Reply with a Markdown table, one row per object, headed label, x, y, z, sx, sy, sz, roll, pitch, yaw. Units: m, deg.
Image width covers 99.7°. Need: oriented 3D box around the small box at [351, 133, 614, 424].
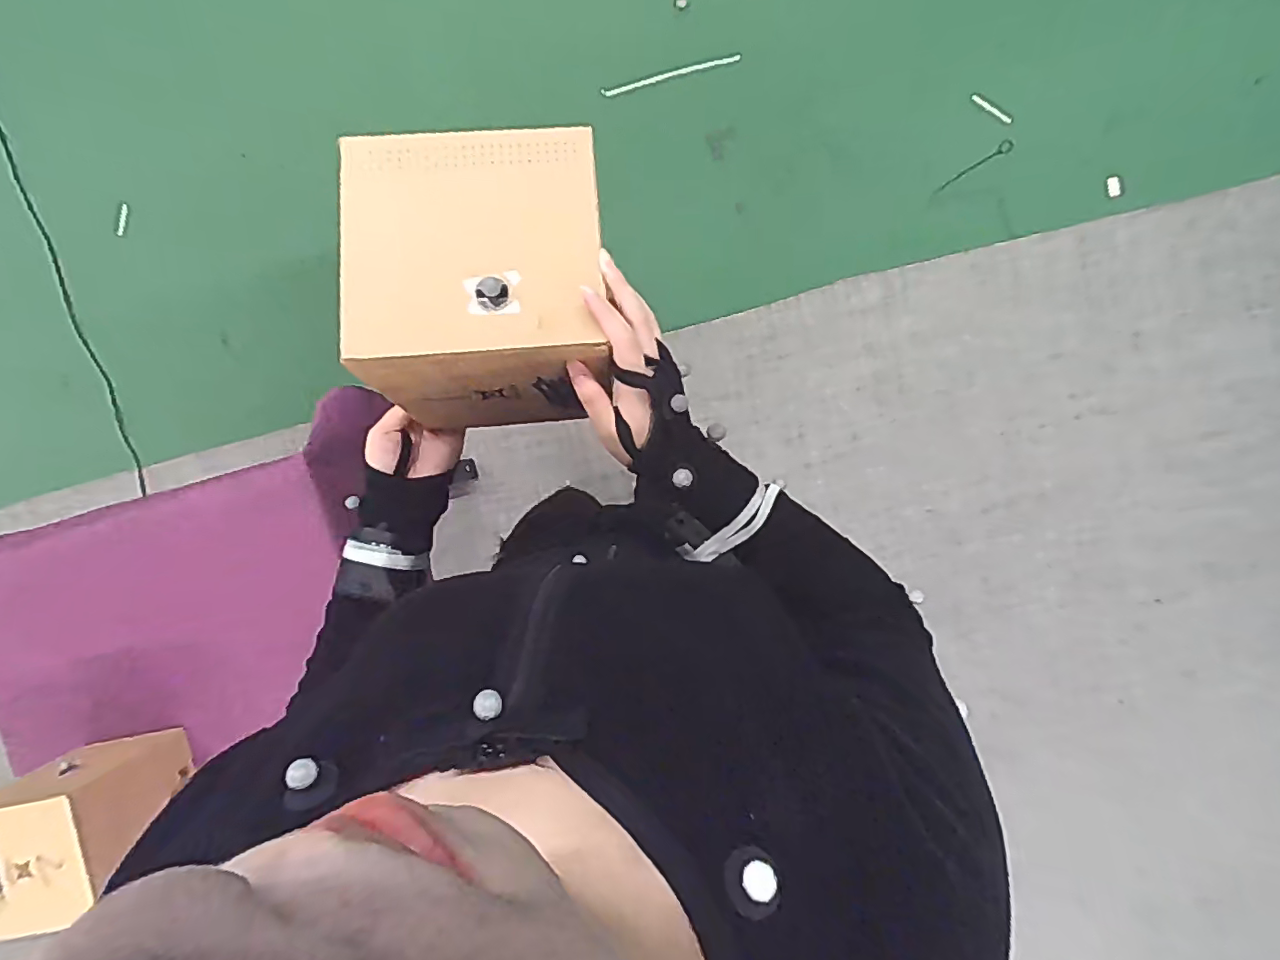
| label | x | y | z | sx | sy | sz | roll | pitch | yaw |
| --- | --- | --- | --- | --- | --- | --- | --- | --- | --- |
| small box | -0.116 | -0.153 | 0.445 | 0.179 | 0.168 | 0.176 | -4 | 80 | -3 |
